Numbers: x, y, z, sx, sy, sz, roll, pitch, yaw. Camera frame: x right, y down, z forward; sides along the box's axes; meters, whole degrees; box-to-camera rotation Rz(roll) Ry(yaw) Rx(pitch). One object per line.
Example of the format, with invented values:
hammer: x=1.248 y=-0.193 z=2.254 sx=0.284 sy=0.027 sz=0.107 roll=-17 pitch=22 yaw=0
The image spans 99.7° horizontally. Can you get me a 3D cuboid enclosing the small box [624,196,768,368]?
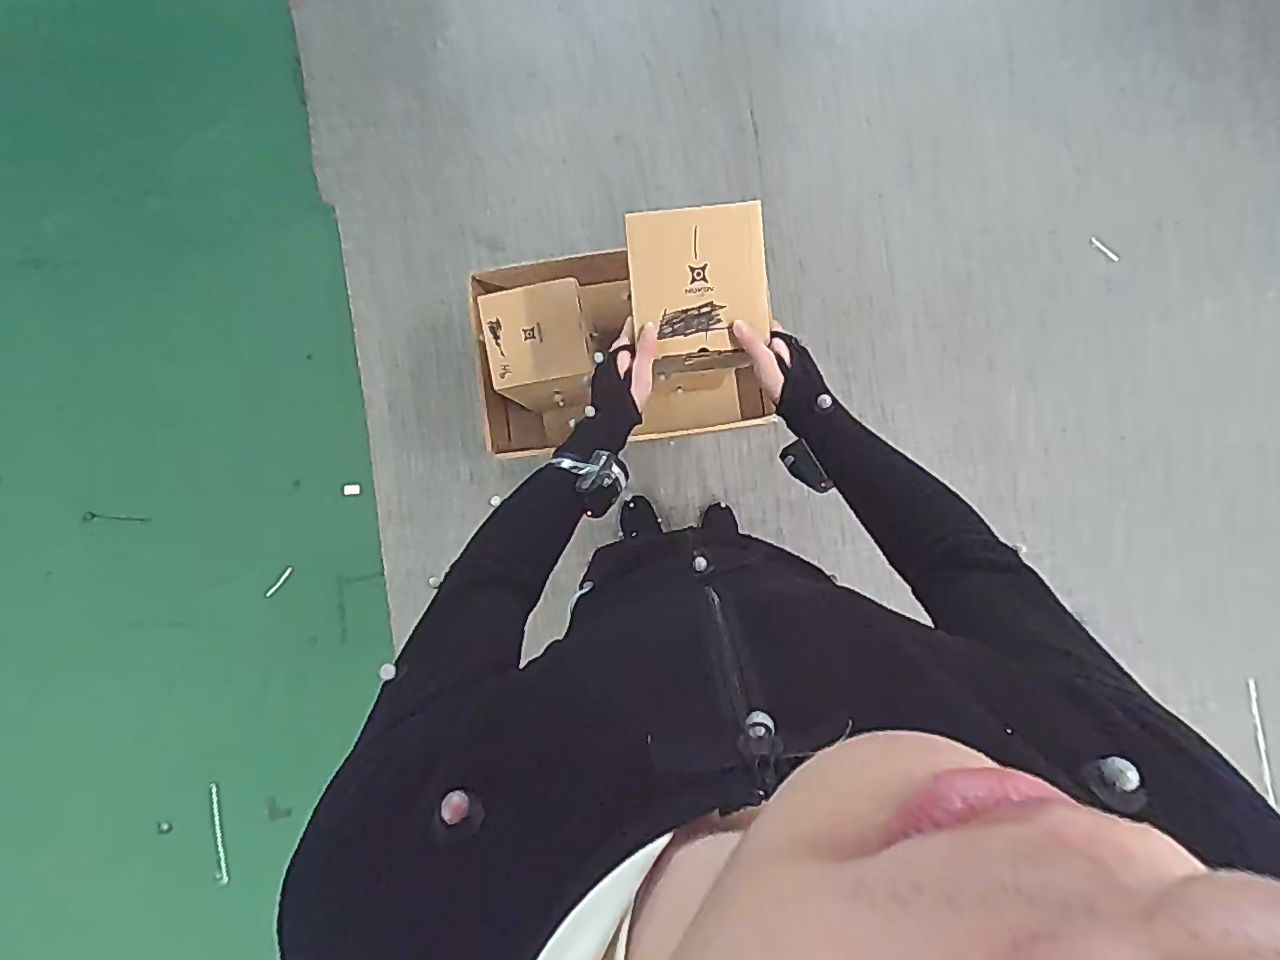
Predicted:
small box: x=0.071 y=-0.247 z=0.722 sx=0.168 sy=0.176 sz=0.179 roll=-5 pitch=94 yaw=2

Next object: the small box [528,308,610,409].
small box: x=-0.167 y=-0.252 z=1.161 sx=0.179 sy=0.176 sz=0.168 roll=-8 pitch=89 yaw=1

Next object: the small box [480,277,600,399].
small box: x=-0.173 y=-0.253 z=0.997 sx=0.179 sy=0.176 sz=0.168 roll=-10 pitch=89 yaw=2
